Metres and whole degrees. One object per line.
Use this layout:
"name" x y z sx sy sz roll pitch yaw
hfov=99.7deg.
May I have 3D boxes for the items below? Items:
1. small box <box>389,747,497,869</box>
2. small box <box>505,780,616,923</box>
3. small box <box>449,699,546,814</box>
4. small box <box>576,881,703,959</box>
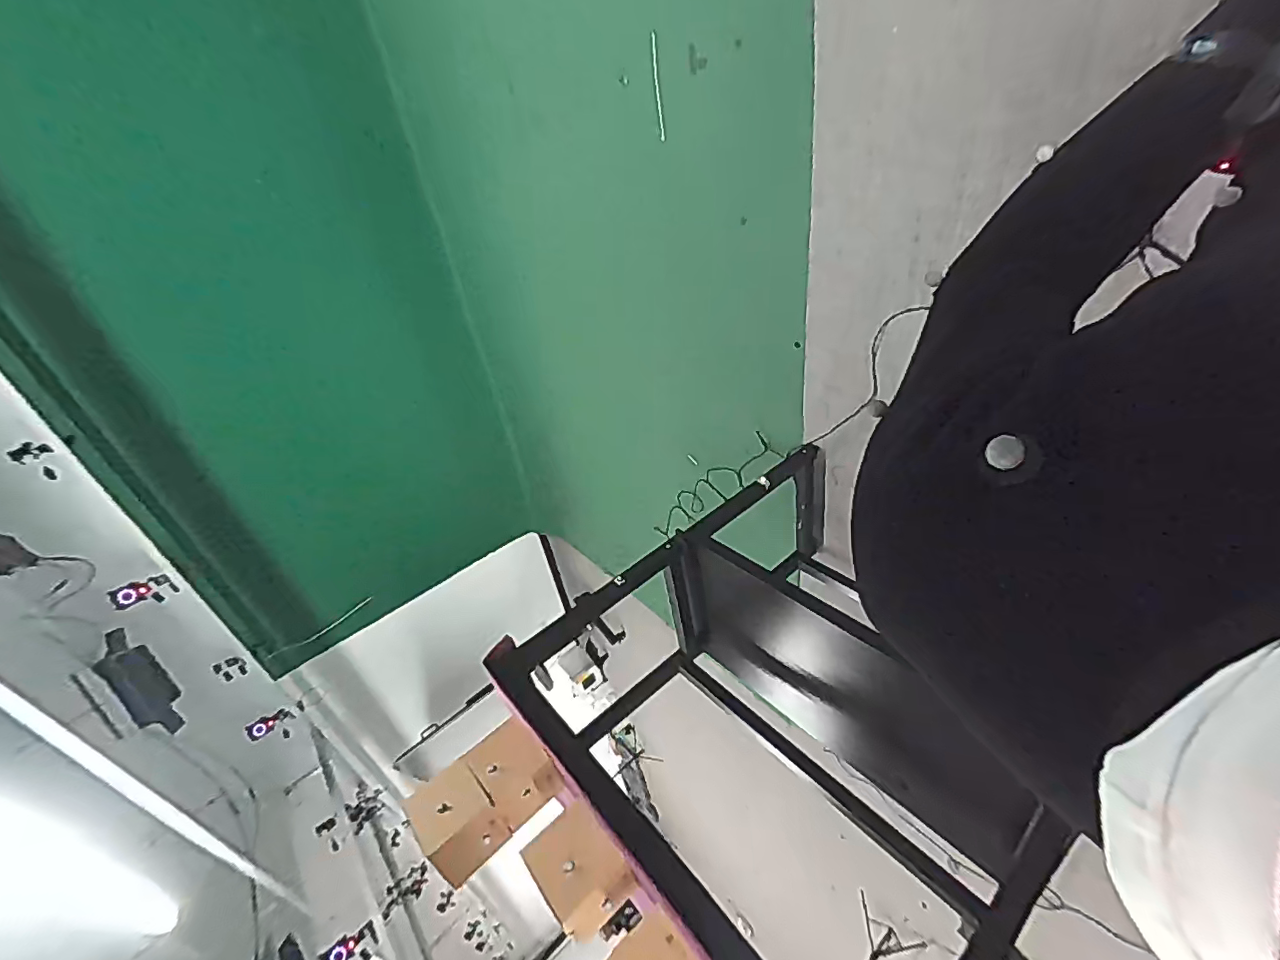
"small box" -0.486 0.802 1.348 0.179 0.176 0.168 24 139 43
"small box" -0.168 0.823 1.211 0.179 0.176 0.168 29 142 40
"small box" -0.366 0.723 1.426 0.179 0.176 0.168 31 143 39
"small box" 0.010 0.923 1.031 0.168 0.176 0.179 24 139 46
